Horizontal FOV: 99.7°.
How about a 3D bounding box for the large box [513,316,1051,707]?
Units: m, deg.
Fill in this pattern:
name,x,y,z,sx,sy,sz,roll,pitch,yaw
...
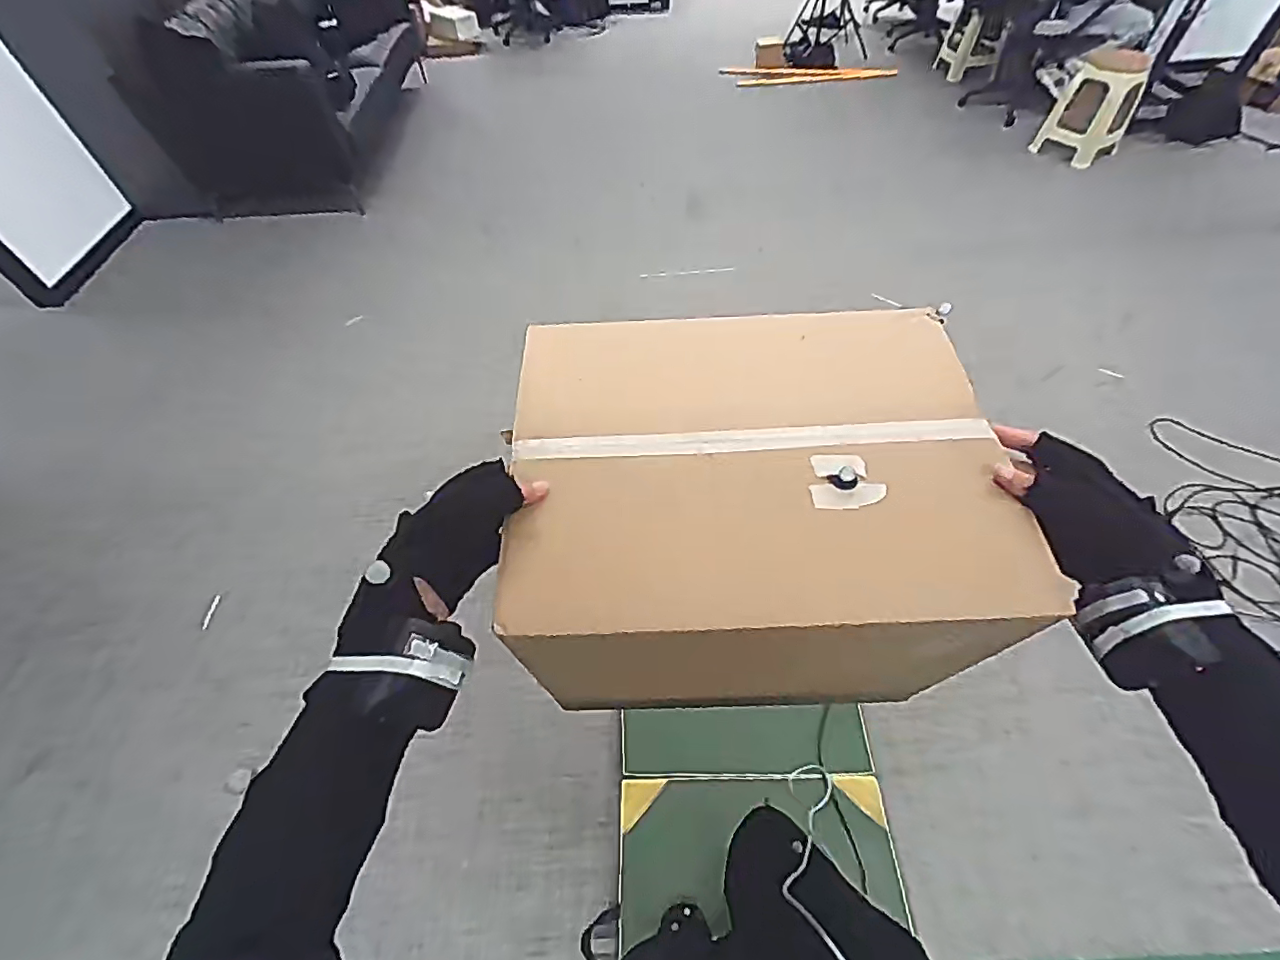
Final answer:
name,x,y,z,sx,sy,sz,roll,pitch,yaw
large box,0.099,0.049,0.596,0.408,0.320,0.320,-2,58,0
